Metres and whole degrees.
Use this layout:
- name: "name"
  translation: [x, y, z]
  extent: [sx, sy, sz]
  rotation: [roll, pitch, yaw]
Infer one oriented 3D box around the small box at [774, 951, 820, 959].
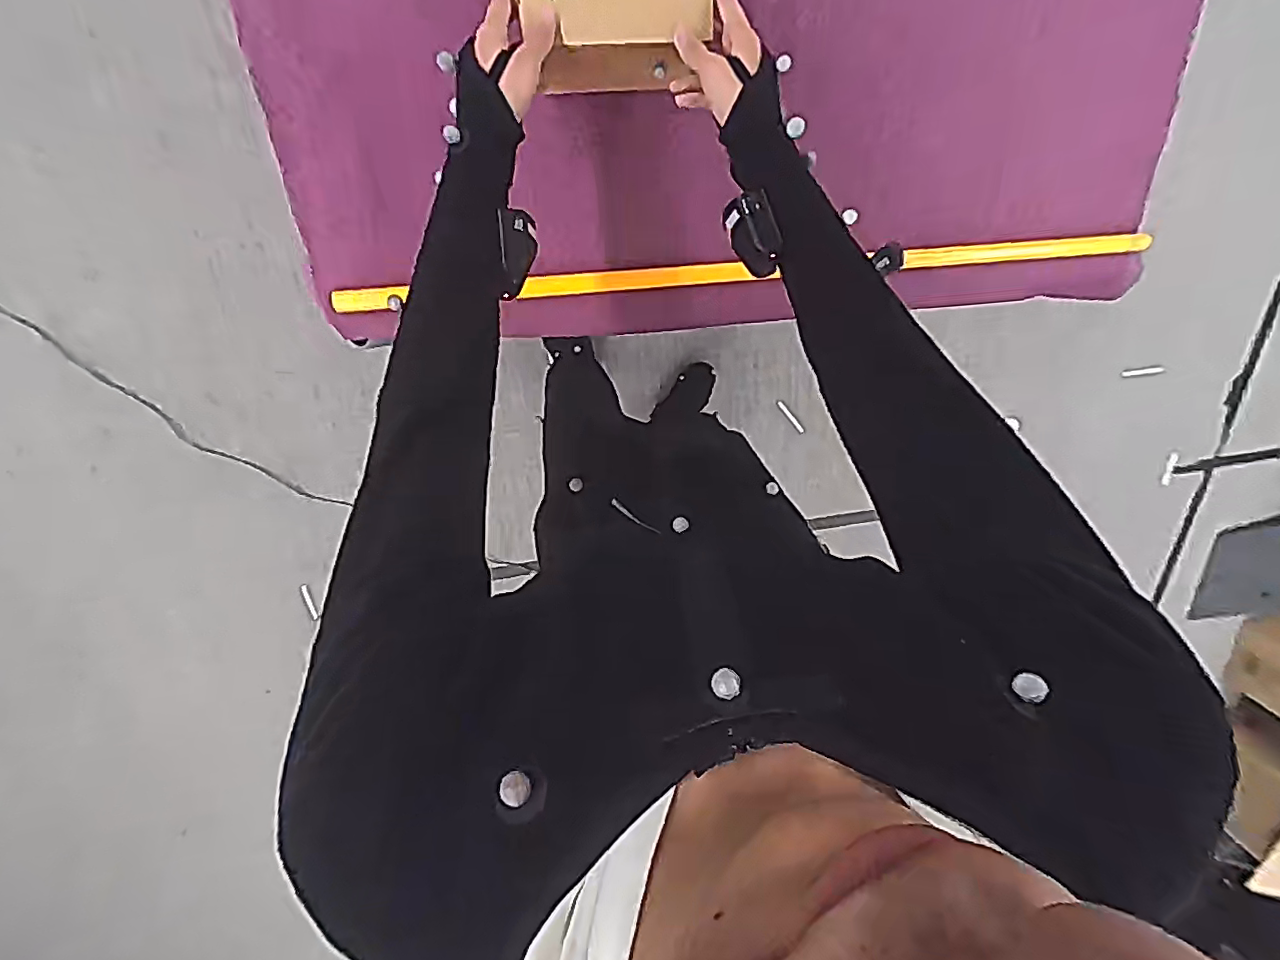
- name: "small box"
  translation: [0.561, 1.816, 1.919]
  extent: [0.179, 0.176, 0.168]
  rotation: [6, 114, -12]
